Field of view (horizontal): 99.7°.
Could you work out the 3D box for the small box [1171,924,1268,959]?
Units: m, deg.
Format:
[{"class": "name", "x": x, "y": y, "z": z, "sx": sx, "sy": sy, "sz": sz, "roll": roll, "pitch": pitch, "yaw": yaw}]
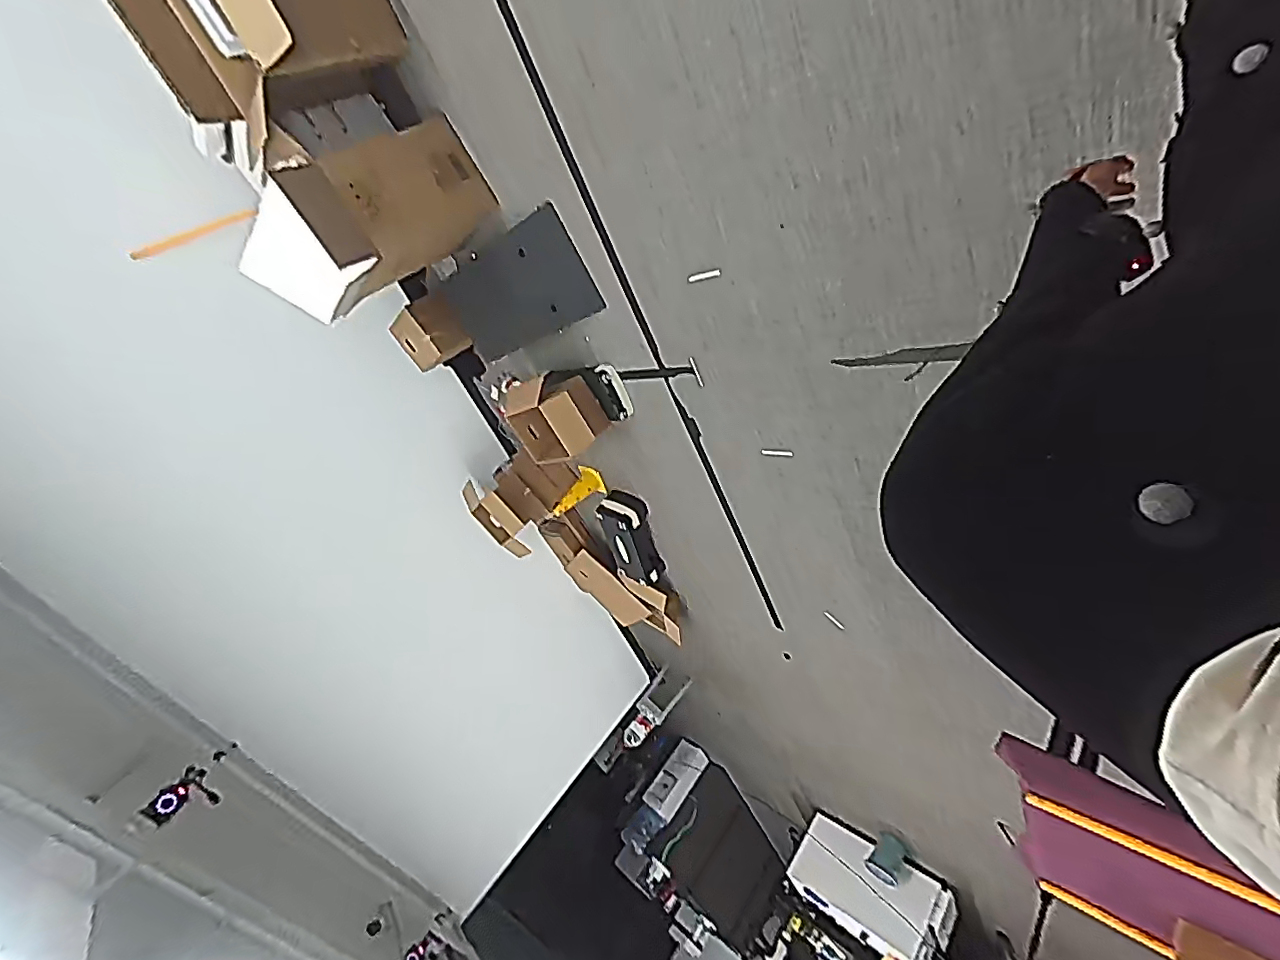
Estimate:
[{"class": "small box", "x": 1.406, "y": 1.225, "z": 1.305, "sx": 0.179, "sy": 0.176, "sz": 0.168, "roll": 8, "pitch": 132, "yaw": 47}]
